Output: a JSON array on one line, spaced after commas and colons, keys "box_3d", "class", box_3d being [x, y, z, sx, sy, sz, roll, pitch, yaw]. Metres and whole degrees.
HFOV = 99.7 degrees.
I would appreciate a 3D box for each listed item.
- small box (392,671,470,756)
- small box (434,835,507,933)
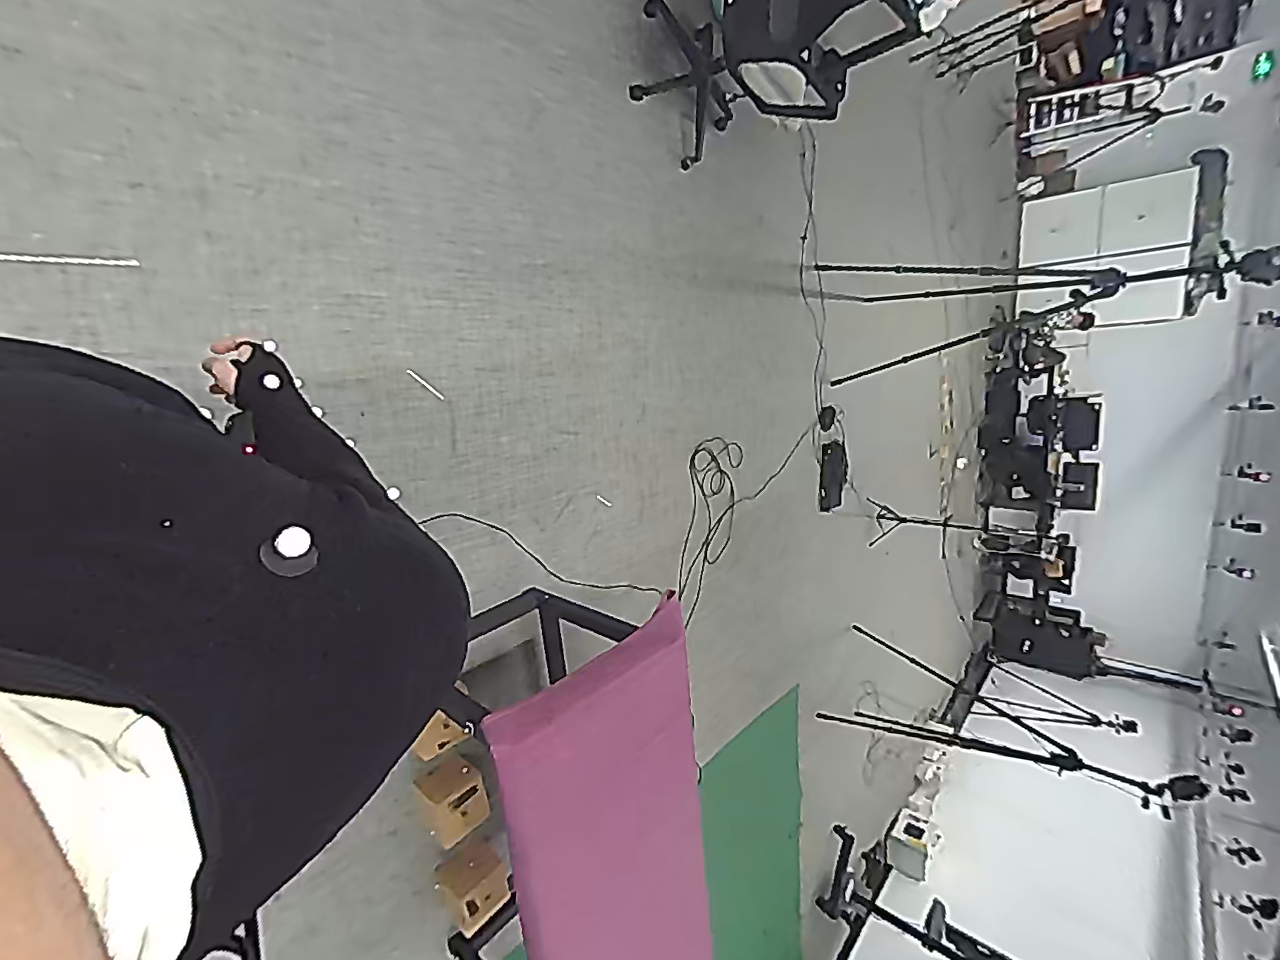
[{"box_3d": [-0.666, 0.730, 1.718, 0.168, 0.176, 0.179, -14, 105, -46], "class": "small box"}, {"box_3d": [-0.594, 1.394, 1.879, 0.179, 0.176, 0.168, -22, 111, -45], "class": "small box"}]
